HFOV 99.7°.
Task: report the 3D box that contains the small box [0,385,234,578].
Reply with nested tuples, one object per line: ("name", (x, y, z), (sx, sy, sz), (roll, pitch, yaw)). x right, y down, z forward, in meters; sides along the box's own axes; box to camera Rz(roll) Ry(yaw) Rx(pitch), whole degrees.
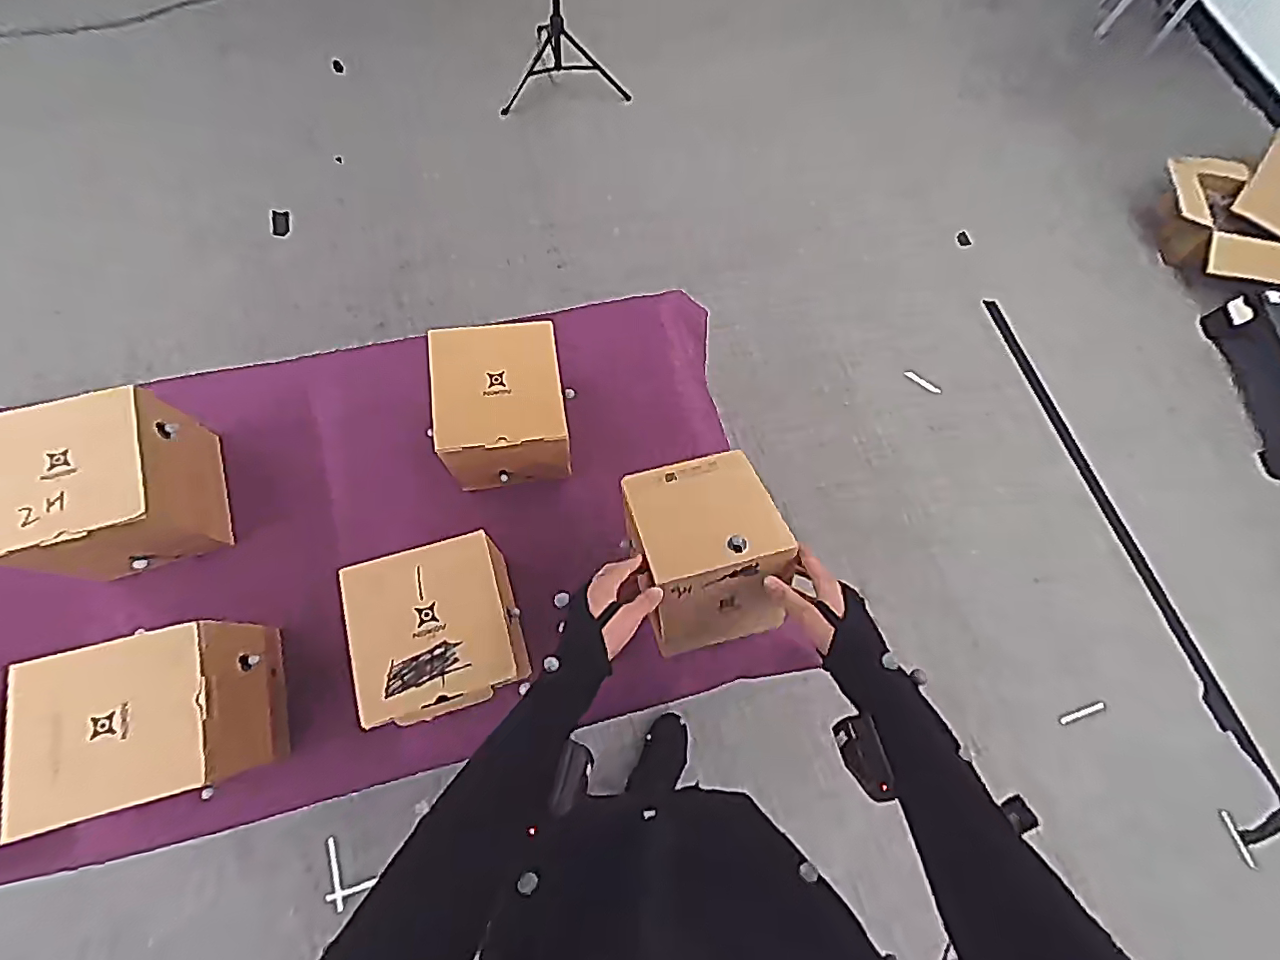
("small box", (-0.661, 0.009, 0.690), (0.168, 0.176, 0.179), (-17, 74, -12))

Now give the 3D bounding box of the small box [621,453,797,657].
("small box", (0.078, 0.093, 0.693), (0.168, 0.179, 0.176), (-14, 44, -8))

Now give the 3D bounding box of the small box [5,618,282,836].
("small box", (-0.535, 0.264, 0.614), (0.179, 0.176, 0.168), (-13, 72, -11))

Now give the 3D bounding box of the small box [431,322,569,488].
("small box", (-0.195, -0.103, 0.783), (0.168, 0.176, 0.179), (-8, 73, -8))

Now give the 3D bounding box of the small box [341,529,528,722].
("small box", (-0.243, 0.181, 0.675), (0.168, 0.176, 0.179), (-15, 72, -11))
